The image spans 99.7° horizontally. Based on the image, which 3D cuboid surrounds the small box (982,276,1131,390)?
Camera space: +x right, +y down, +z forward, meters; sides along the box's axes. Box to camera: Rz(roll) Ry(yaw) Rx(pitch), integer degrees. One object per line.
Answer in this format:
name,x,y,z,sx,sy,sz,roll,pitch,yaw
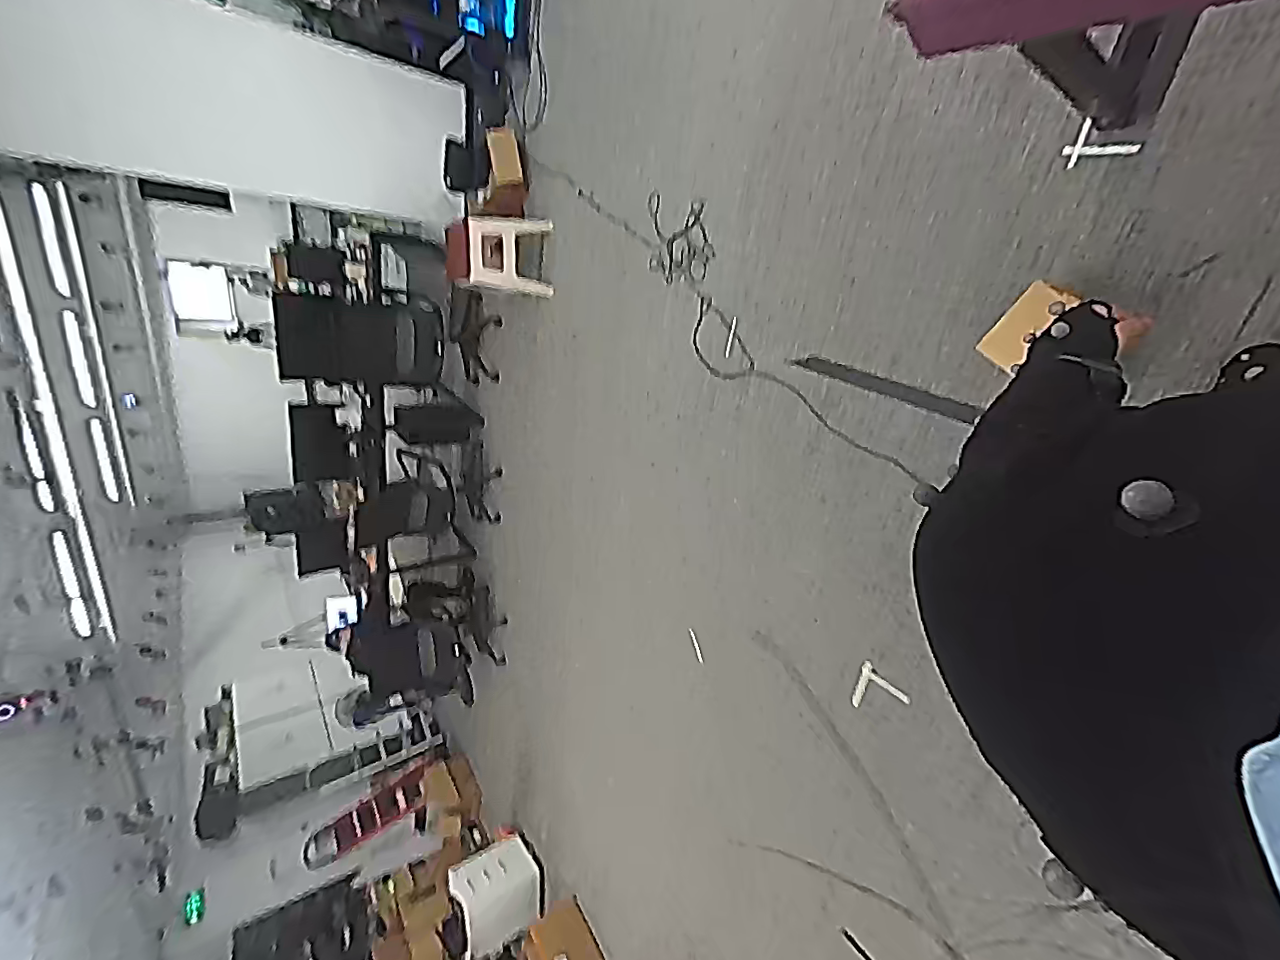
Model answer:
small box,0.903,-0.315,1.173,0.168,0.176,0.179,55,136,30
